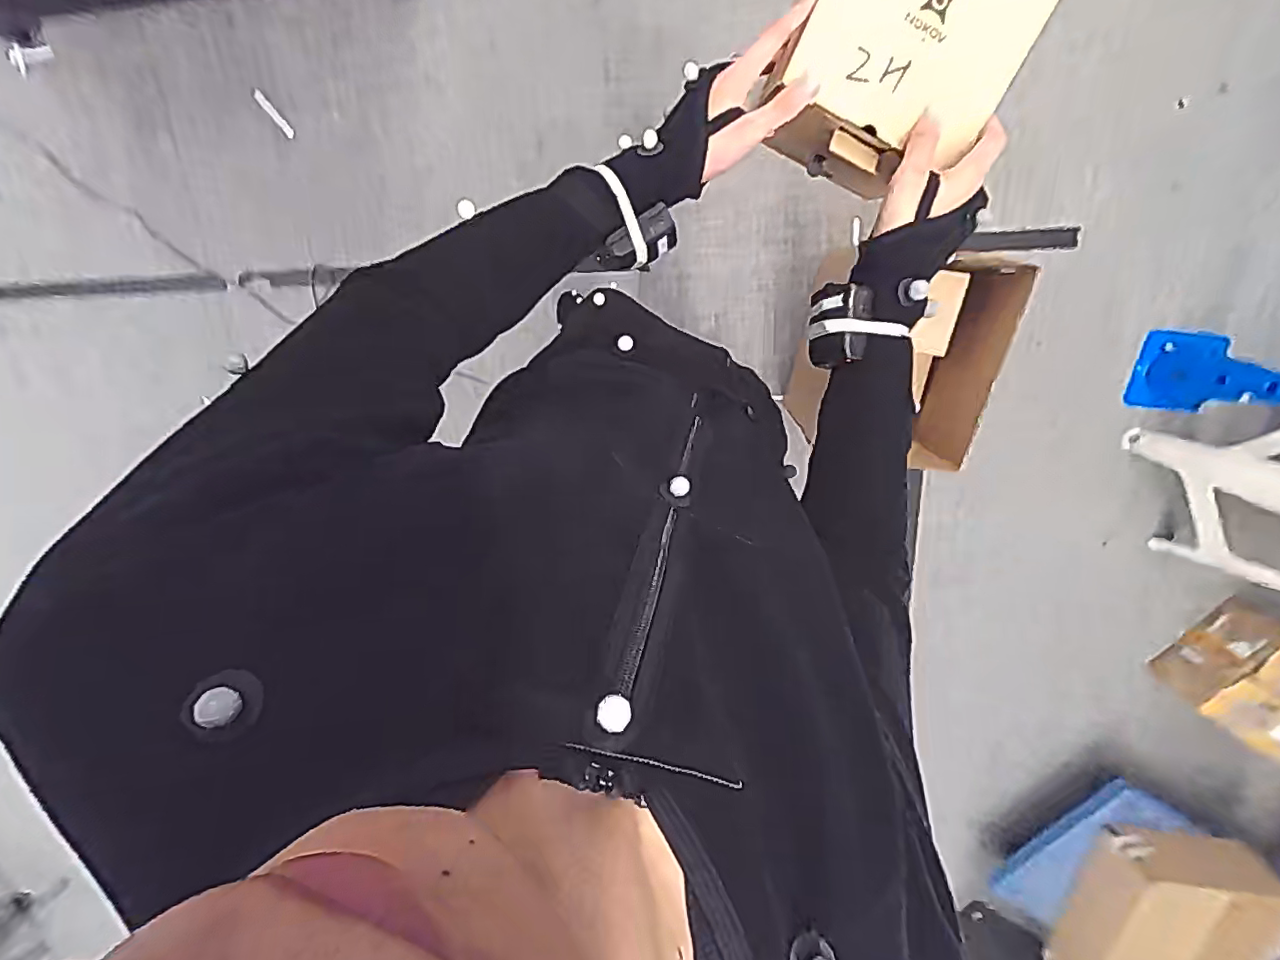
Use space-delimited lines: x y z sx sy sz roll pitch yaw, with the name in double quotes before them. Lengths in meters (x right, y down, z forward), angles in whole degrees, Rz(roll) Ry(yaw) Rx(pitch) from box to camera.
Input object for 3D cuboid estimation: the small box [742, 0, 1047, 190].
"small box" 0.205 -0.380 0.466 0.168 0.176 0.179 22 111 -10
